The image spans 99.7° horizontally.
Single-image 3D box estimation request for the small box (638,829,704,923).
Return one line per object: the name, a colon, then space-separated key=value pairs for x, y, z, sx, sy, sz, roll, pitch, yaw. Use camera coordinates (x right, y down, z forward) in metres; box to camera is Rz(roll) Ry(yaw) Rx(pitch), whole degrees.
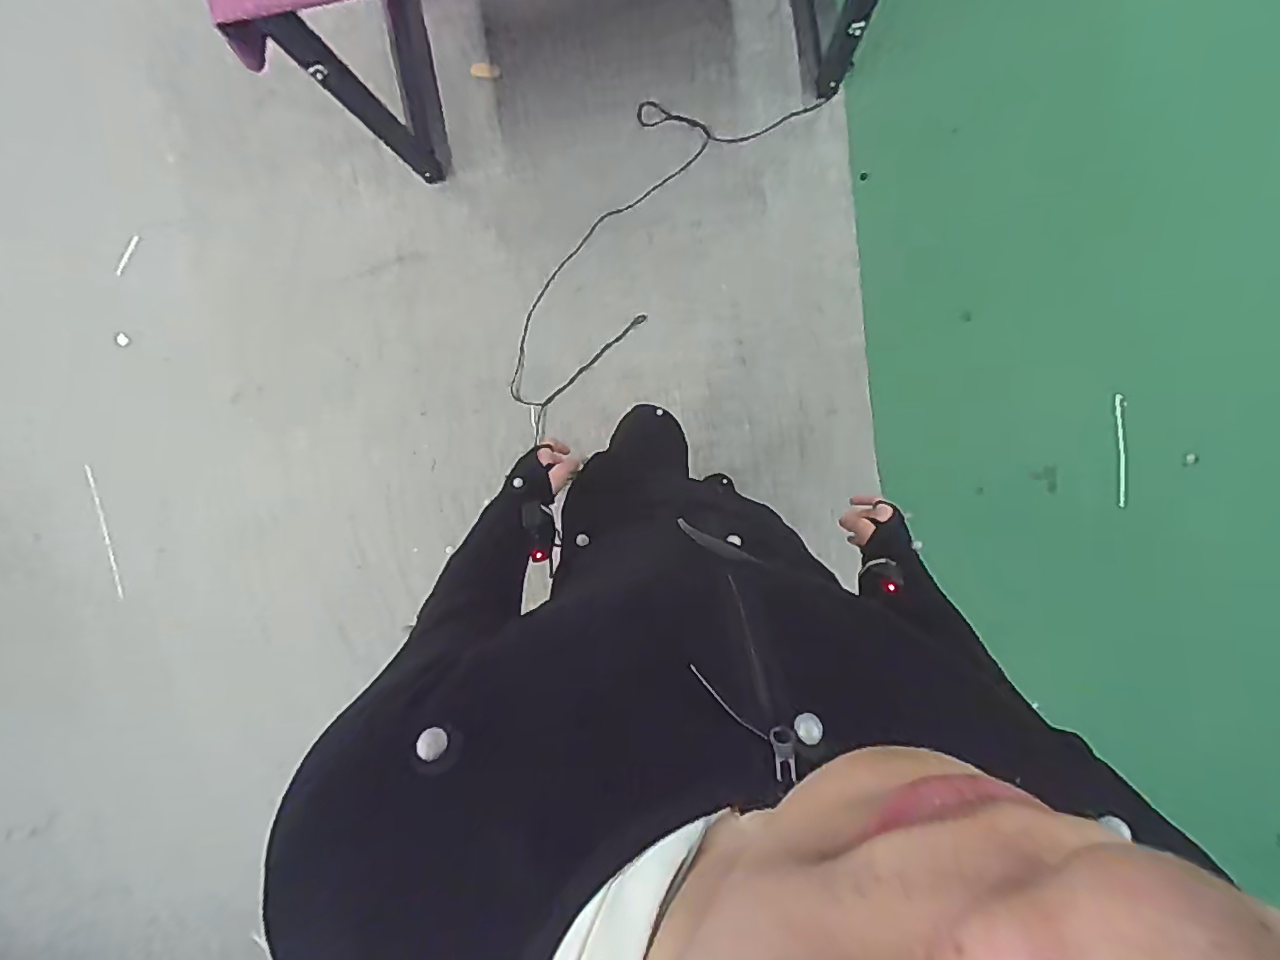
small box: x=0.101 y=1.220 z=1.660 sx=0.168 sy=0.176 sz=0.179 roll=-14 pitch=94 yaw=6
